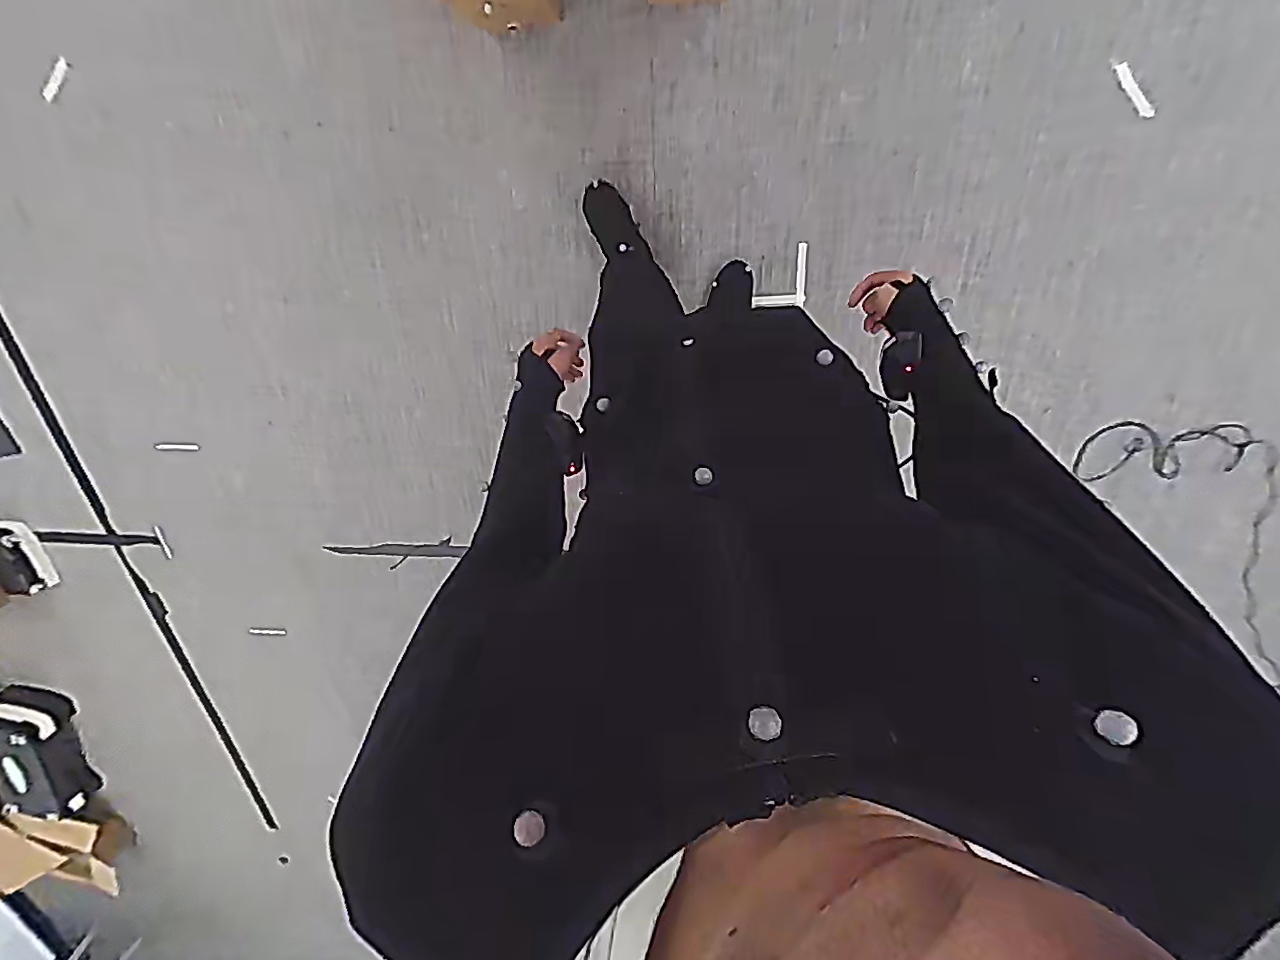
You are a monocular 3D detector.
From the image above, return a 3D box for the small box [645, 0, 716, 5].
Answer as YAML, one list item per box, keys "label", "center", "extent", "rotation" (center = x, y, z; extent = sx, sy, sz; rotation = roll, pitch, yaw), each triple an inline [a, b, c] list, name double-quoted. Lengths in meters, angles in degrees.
- label: "small box"
  center: [0.087, -1.101, 1.103]
  extent: [0.179, 0.176, 0.168]
  rotation: [1, 117, 4]

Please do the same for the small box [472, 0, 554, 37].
- label: "small box"
  center: [-0.292, -1.084, 1.147]
  extent: [0.168, 0.176, 0.179]
  rotation: [-5, 116, 8]
